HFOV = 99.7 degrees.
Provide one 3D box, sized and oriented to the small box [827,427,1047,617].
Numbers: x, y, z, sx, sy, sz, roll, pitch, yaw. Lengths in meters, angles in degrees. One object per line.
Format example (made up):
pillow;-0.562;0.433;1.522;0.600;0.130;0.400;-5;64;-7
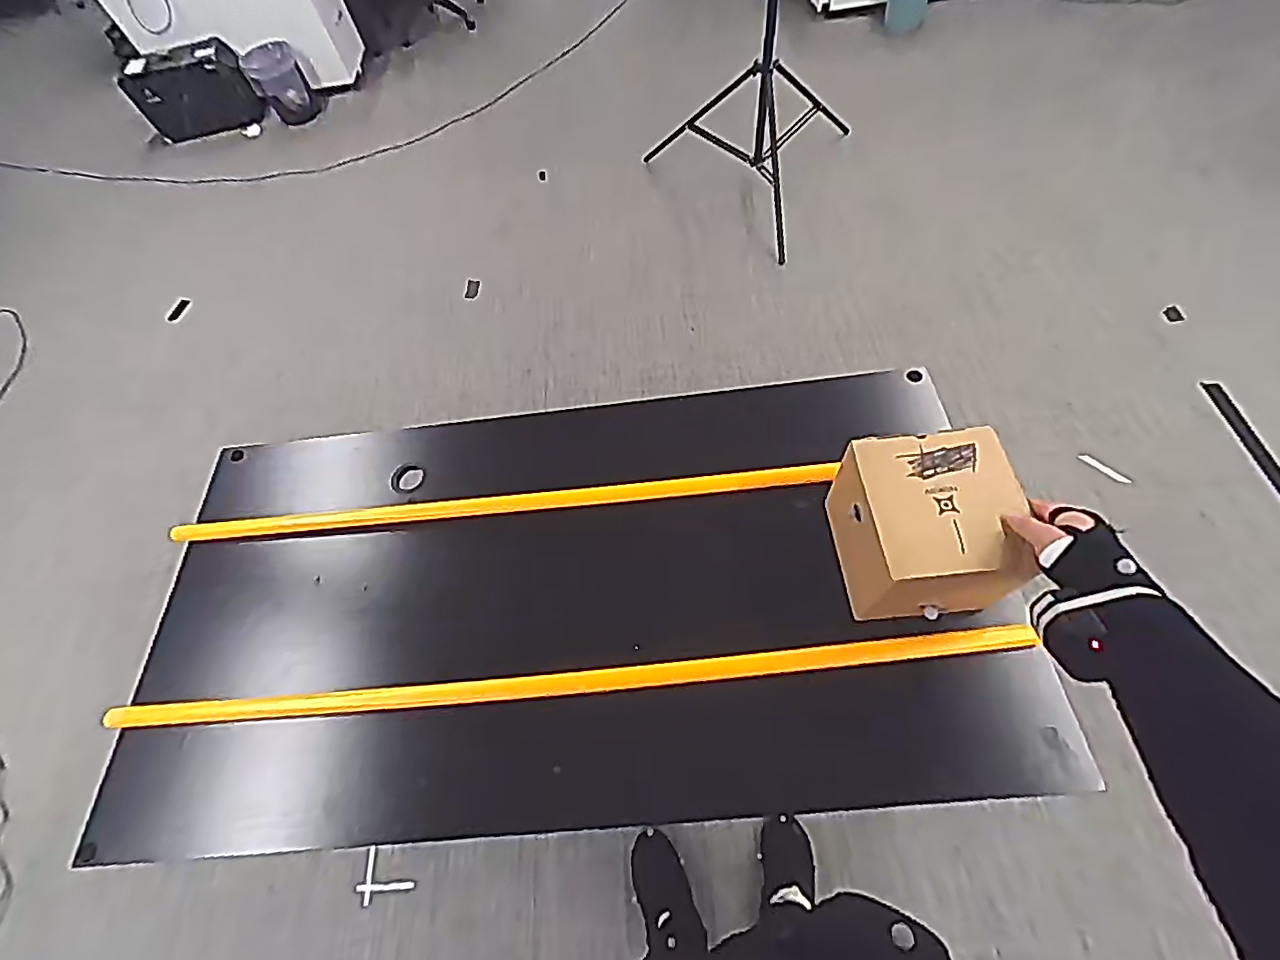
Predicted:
small box;0.345;0.058;0.674;0.168;0.176;0.179;-6;61;4
